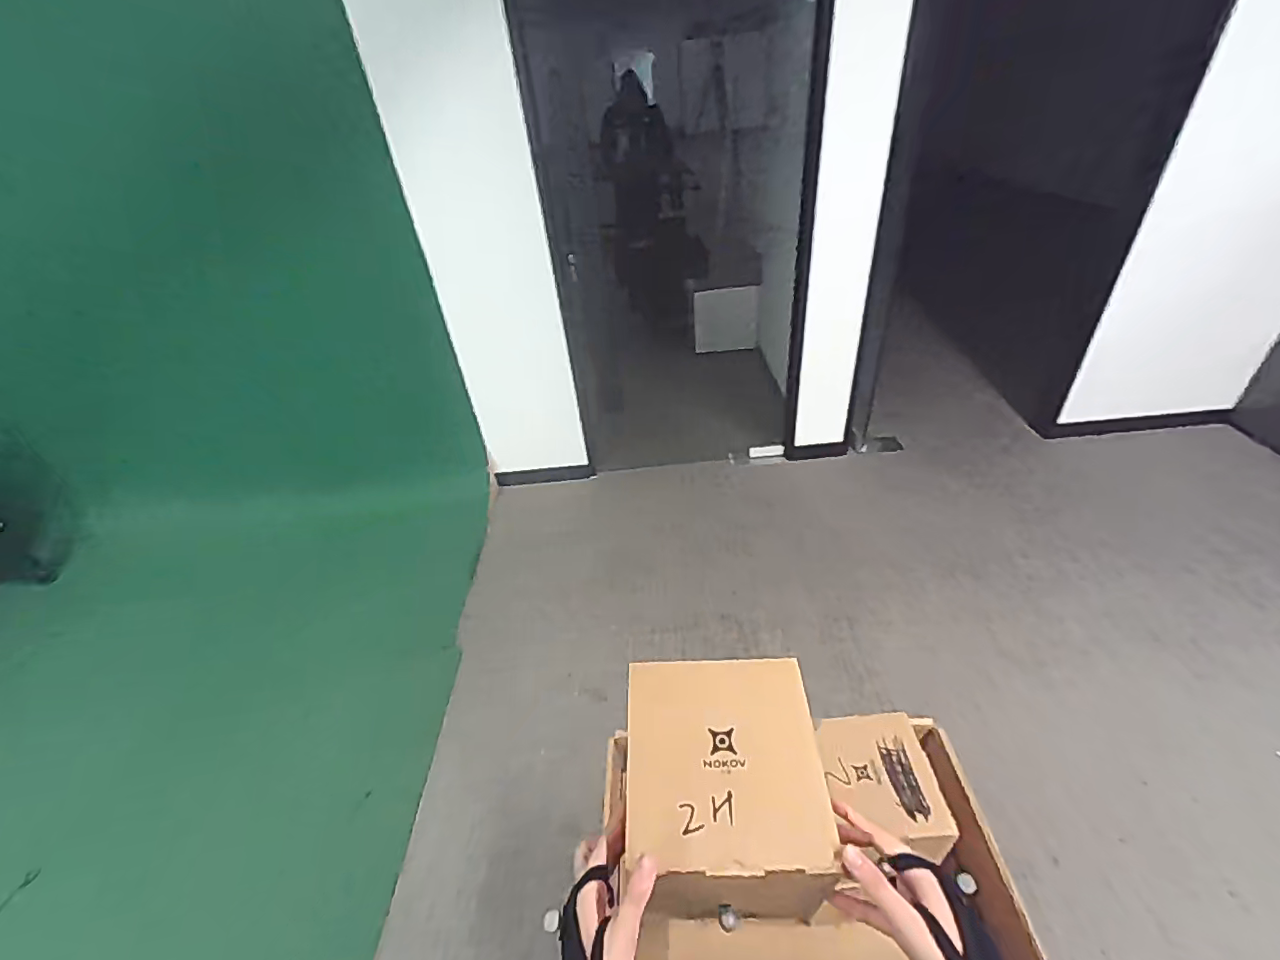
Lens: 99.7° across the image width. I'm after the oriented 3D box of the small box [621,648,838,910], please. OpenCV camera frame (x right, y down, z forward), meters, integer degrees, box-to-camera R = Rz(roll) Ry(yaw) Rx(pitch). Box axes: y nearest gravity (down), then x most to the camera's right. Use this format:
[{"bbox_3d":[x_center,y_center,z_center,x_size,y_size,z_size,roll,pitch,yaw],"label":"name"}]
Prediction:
[{"bbox_3d":[0.071,0.284,0.519,0.168,0.176,0.179,-2,42,3],"label":"small box"}]
